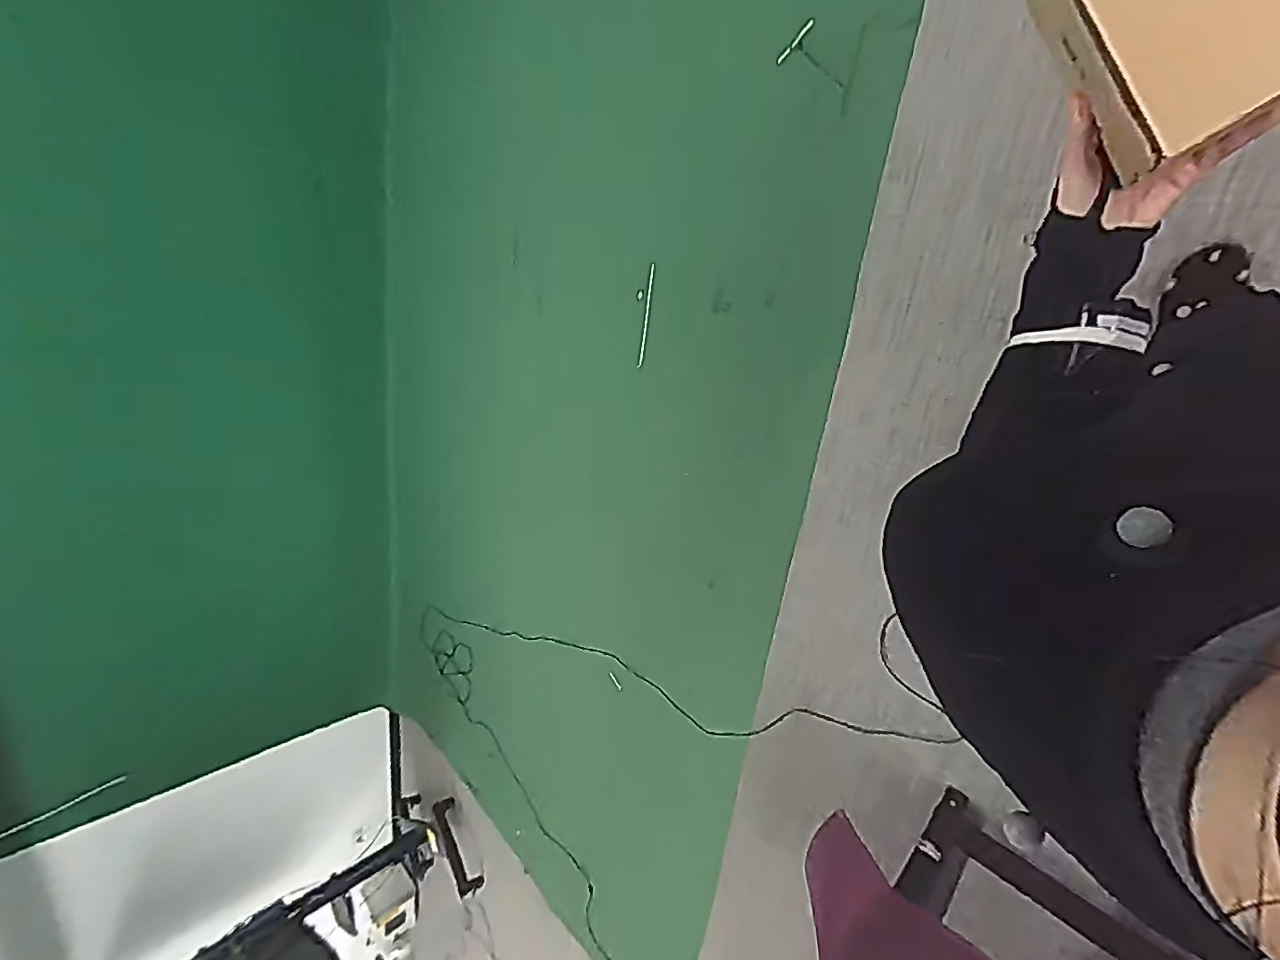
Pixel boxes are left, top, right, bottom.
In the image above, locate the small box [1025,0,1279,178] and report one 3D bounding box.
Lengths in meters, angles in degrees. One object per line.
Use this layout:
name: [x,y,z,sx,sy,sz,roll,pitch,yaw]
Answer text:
small box: [0.342,-0.310,0.300,0.176,0.168,0.179,-28,92,40]
